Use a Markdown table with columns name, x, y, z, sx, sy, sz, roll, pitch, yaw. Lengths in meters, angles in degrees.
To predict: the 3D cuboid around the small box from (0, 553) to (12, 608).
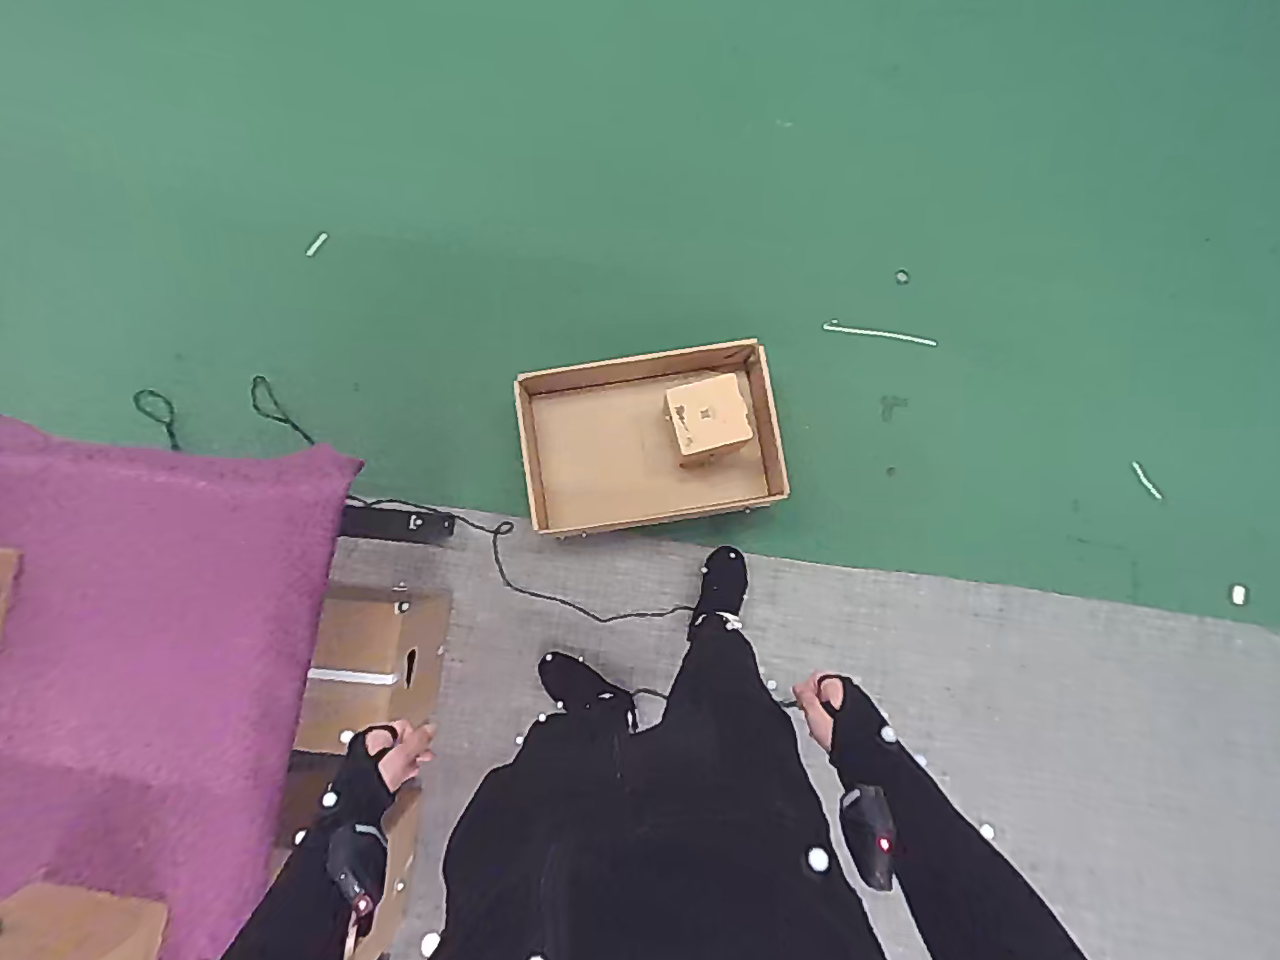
| name | x | y | z | sx | sy | sz | roll | pitch | yaw |
| --- | --- | --- | --- | --- | --- | --- | --- | --- | --- |
| small box | -0.923 | 0.158 | 0.627 | 0.179 | 0.176 | 0.168 | 9 | 86 | 0 |

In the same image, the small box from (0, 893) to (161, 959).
| name | x | y | z | sx | sy | sz | roll | pitch | yaw |
| --- | --- | --- | --- | --- | --- | --- | --- | --- | --- |
| small box | -0.686 | 0.591 | 0.581 | 0.179 | 0.176 | 0.168 | 9 | 85 | 2 |

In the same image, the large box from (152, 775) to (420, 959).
| name | x | y | z | sx | sy | sz | roll | pitch | yaw |
| --- | --- | --- | --- | --- | --- | --- | --- | --- | --- |
| large box | -0.766 | 0.905 | 1.212 | 0.408 | 0.320 | 0.320 | 7 | 83 | 2 |
